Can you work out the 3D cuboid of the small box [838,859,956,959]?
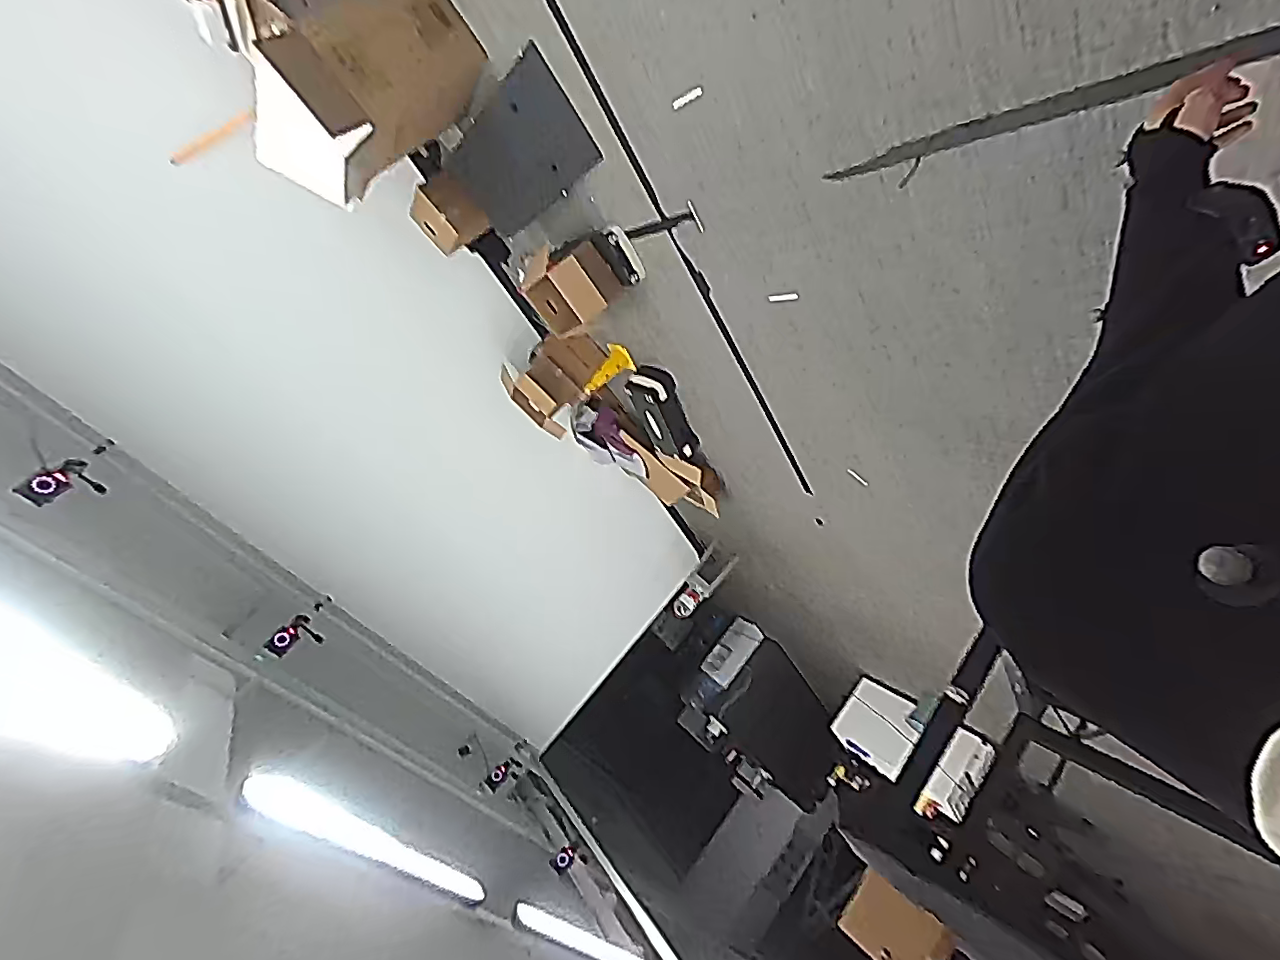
[{"bbox_3d":[0.578,0.996,1.205,0.168,0.176,0.179,20,153,50],"label":"small box"}]
